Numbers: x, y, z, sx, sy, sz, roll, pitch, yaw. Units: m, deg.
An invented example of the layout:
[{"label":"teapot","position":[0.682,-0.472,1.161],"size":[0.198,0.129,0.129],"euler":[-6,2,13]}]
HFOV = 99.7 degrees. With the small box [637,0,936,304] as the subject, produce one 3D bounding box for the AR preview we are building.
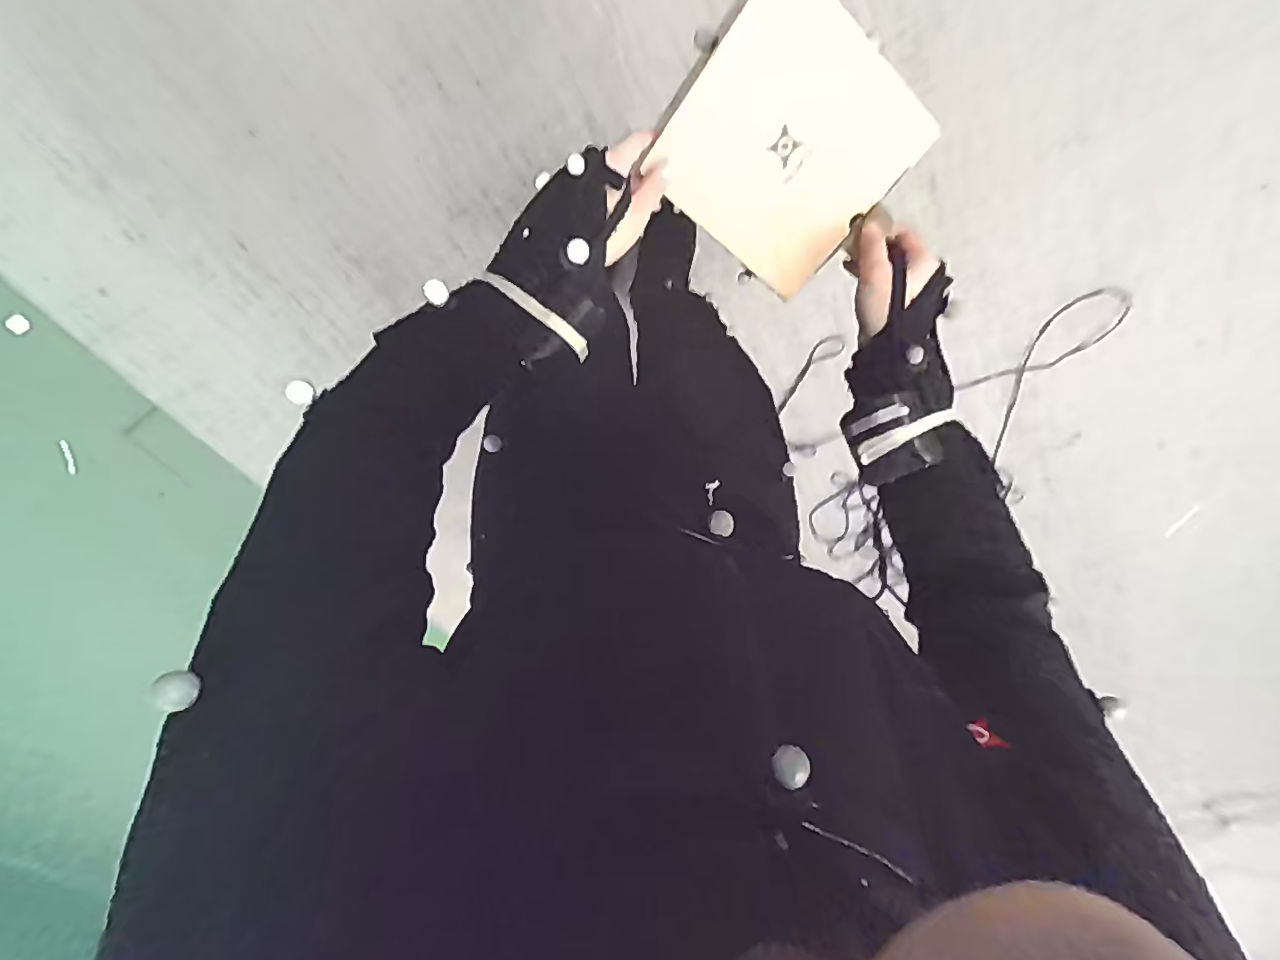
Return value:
[{"label":"small box","position":[0.114,-0.298,0.488],"size":[0.179,0.176,0.168],"euler":[35,119,-22]}]
